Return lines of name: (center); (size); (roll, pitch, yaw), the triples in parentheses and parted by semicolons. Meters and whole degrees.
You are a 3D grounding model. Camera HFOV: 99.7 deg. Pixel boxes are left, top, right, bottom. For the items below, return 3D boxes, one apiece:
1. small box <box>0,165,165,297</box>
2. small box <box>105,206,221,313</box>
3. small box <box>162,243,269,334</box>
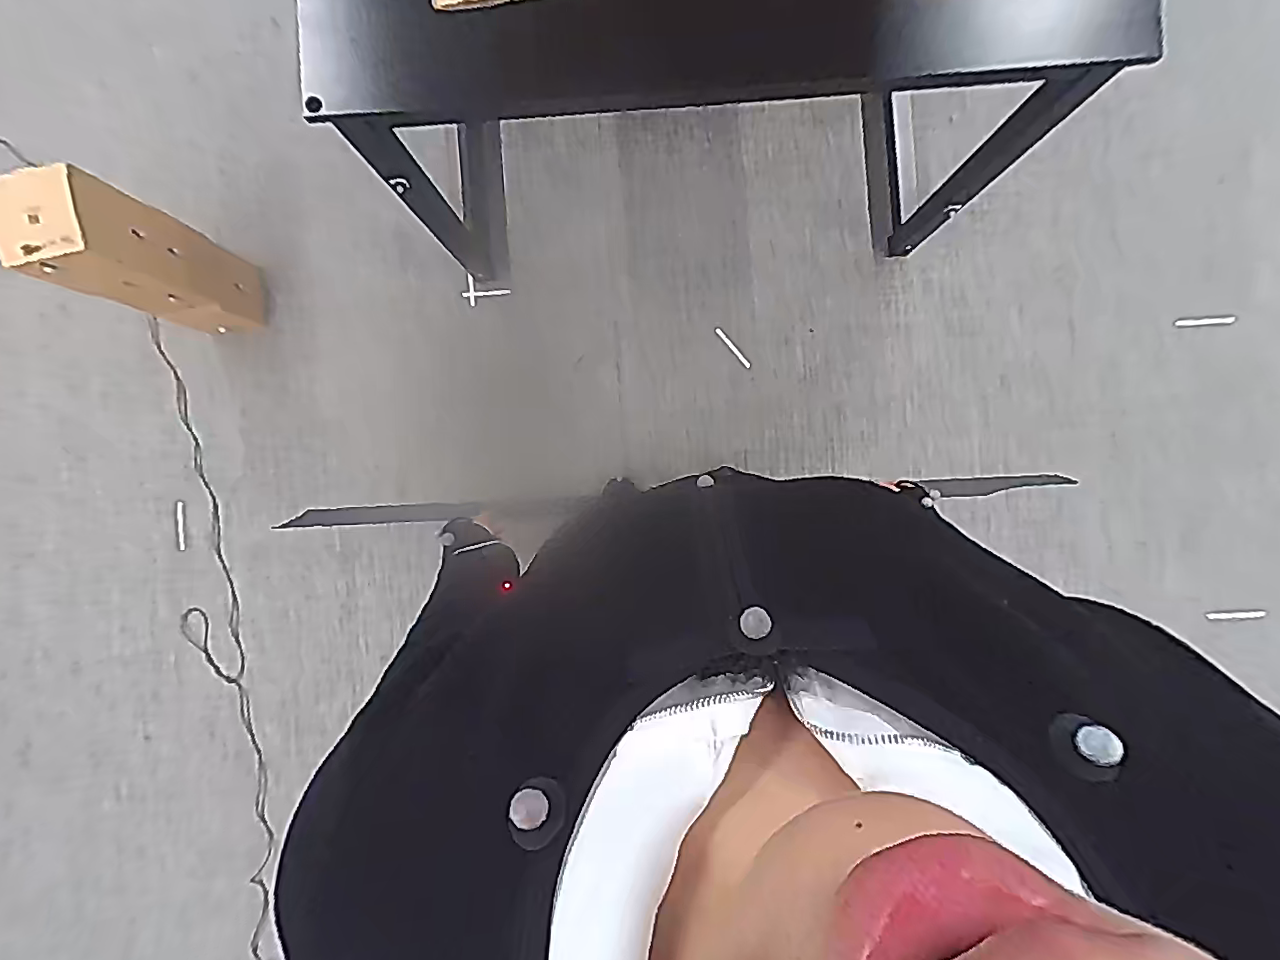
small box: (-1.140, -0.505, 1.115); (0.168, 0.176, 0.179); (-12, 89, 1)
small box: (-1.138, -0.509, 1.279); (0.168, 0.176, 0.179); (-10, 89, 0)
small box: (-1.132, -0.504, 1.441); (0.168, 0.176, 0.179); (-7, 91, 1)
